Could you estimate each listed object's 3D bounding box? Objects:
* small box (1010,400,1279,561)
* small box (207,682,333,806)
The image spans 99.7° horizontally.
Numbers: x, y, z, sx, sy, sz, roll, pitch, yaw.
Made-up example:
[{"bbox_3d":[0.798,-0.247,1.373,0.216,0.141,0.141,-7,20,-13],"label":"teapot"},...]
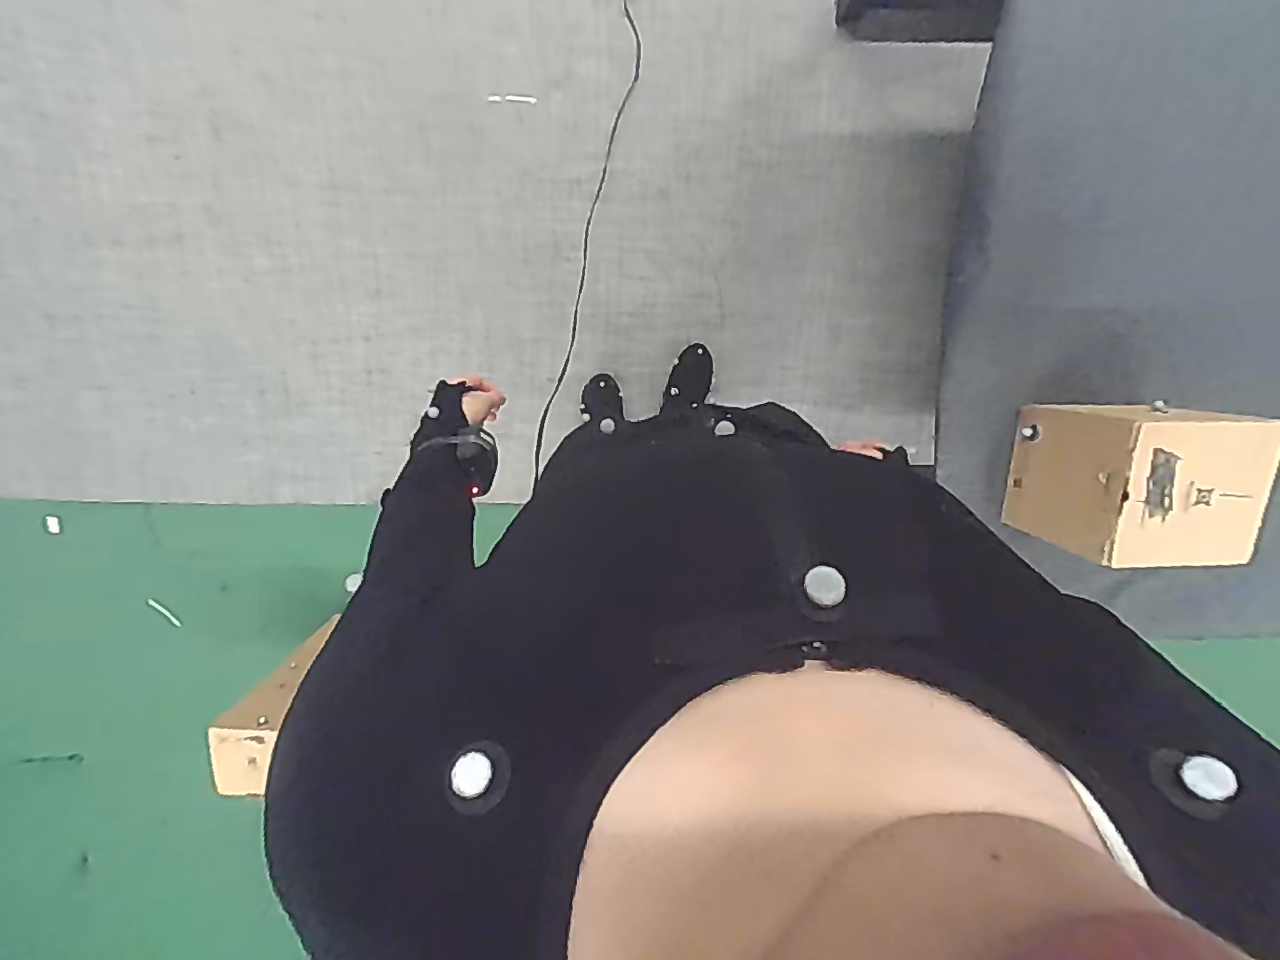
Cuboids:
[{"bbox_3d":[0.598,-0.007,0.661,0.179,0.176,0.168,0,103,-4],"label":"small box"},{"bbox_3d":[-0.813,0.584,1.207,0.168,0.176,0.179,5,105,0],"label":"small box"}]
